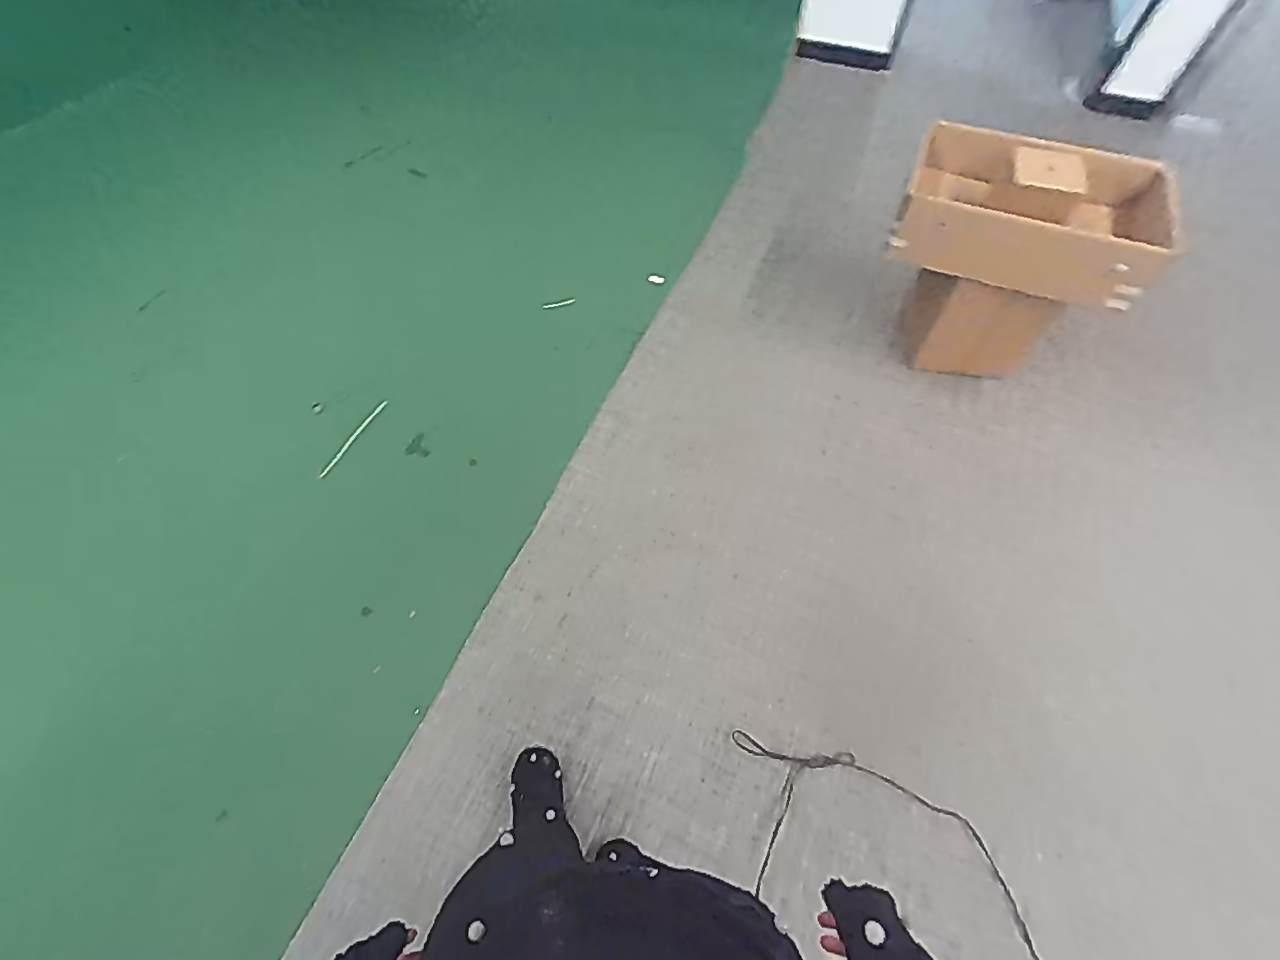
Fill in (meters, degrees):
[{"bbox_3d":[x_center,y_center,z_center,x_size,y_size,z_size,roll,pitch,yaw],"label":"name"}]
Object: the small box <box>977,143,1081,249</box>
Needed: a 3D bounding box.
[{"bbox_3d":[1.025,-0.753,1.438,0.168,0.176,0.179,16,62,10],"label":"small box"}]
